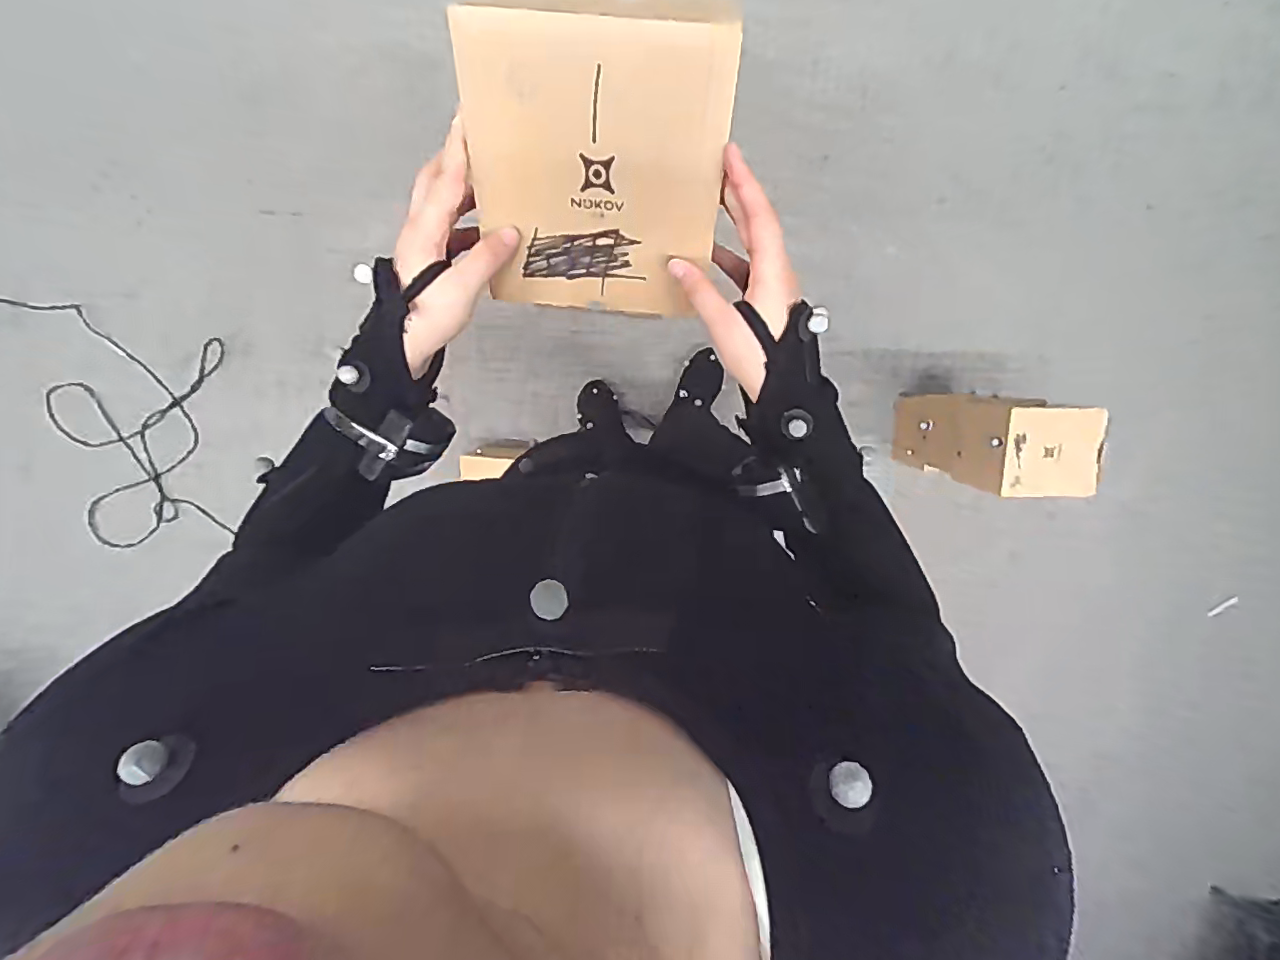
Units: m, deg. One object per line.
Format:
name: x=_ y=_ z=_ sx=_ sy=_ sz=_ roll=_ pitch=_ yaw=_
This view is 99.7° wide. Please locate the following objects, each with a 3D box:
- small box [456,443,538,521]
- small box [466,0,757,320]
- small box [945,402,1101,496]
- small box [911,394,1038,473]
small box: x=-0.365 y=-0.001 z=1.406 sx=0.179 sy=0.176 sz=0.168 roll=4 pitch=102 yaw=0
small box: x=-0.015 y=-0.249 z=0.411 sx=0.168 sy=0.176 sz=0.179 roll=5 pitch=136 yaw=0
small box: x=0.745 y=-0.067 z=1.070 sx=0.179 sy=0.176 sz=0.168 roll=0 pitch=101 yaw=-1
small box: x=0.750 y=-0.108 z=1.229 sx=0.179 sy=0.176 sz=0.168 roll=1 pitch=101 yaw=1
